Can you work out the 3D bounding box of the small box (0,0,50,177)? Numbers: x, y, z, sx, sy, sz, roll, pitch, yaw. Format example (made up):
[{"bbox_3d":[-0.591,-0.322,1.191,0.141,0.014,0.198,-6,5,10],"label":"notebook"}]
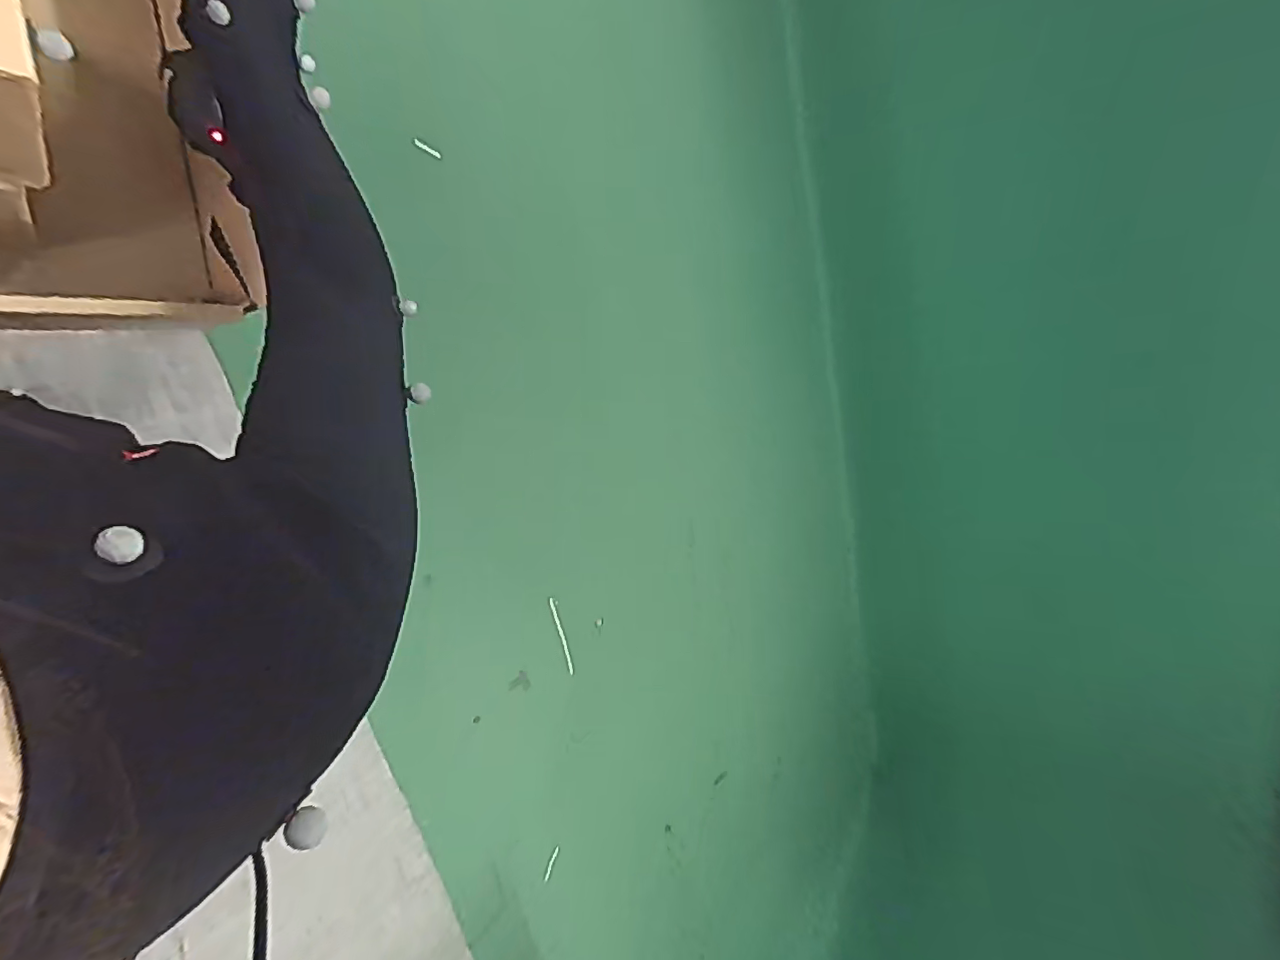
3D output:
[{"bbox_3d":[-0.370,-0.240,0.208,0.179,0.176,0.168,-12,106,-46],"label":"small box"}]
